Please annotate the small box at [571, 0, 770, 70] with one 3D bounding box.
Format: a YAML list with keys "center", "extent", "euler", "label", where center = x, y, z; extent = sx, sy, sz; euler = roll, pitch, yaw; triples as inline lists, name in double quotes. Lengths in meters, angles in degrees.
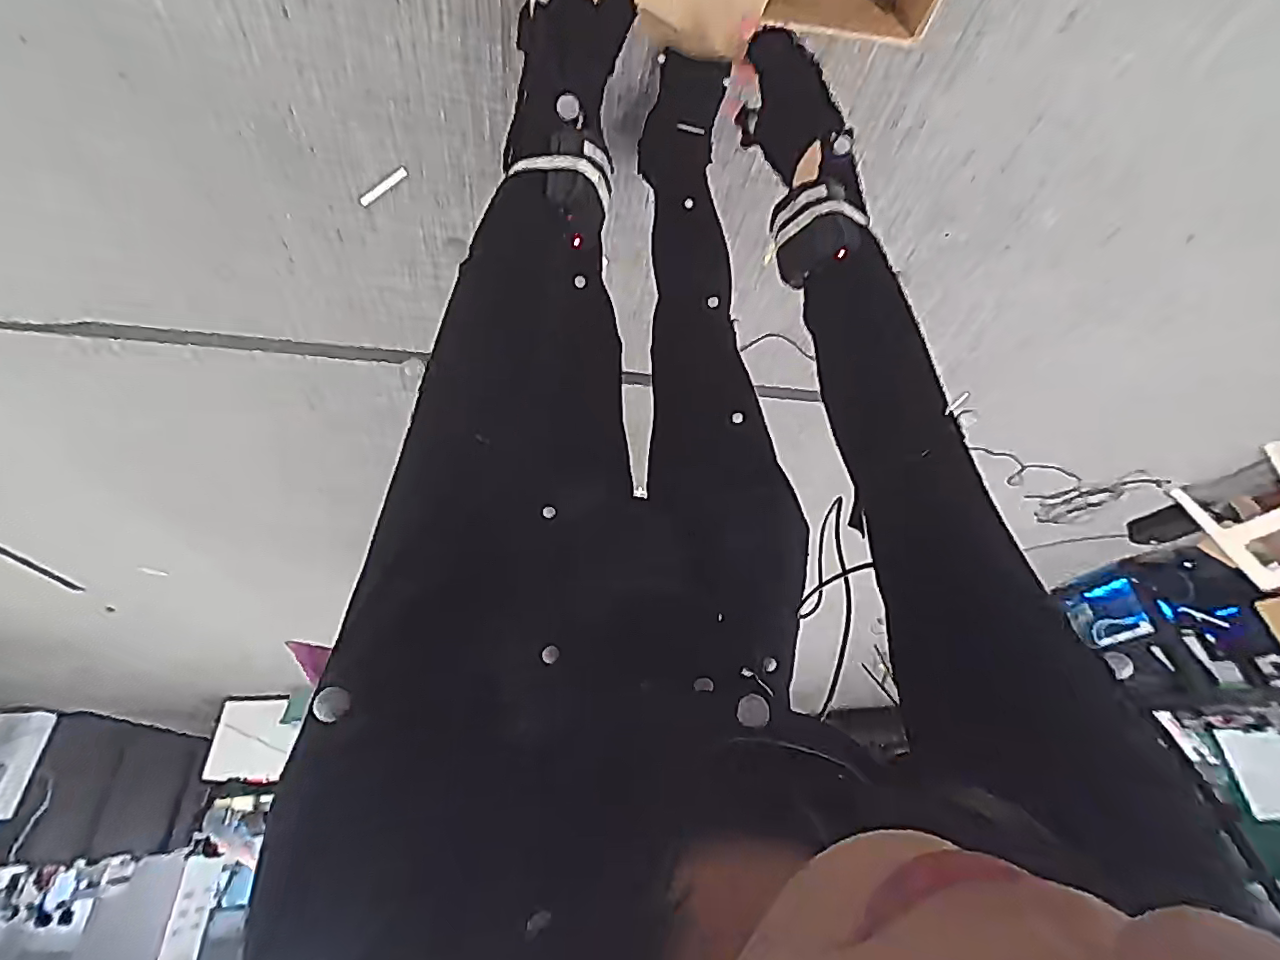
- center: [0.033, -0.509, 0.485]
  extent: [0.168, 0.176, 0.179]
  euler: [10, 123, -26]
  label: "small box"
